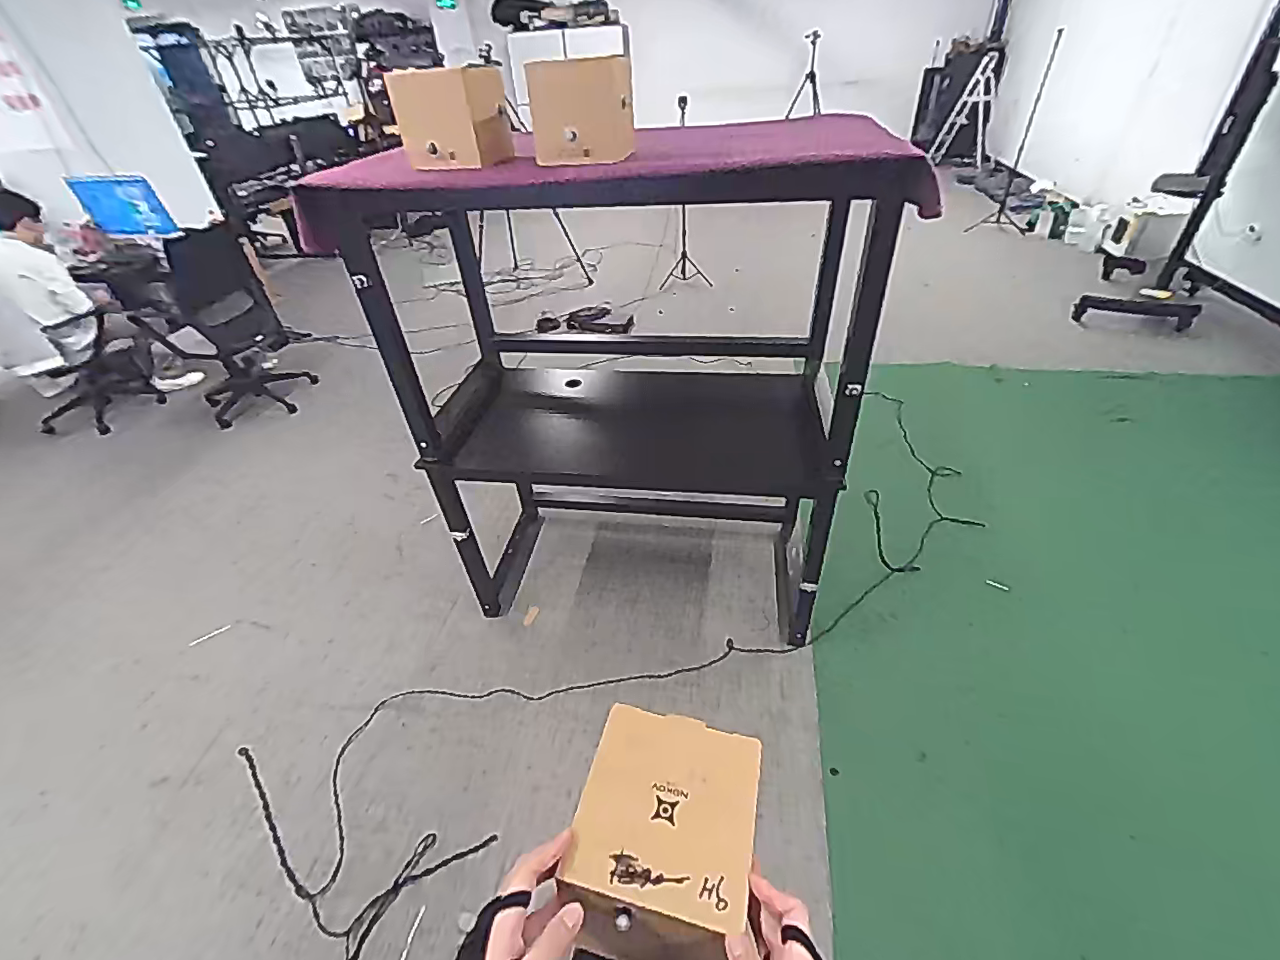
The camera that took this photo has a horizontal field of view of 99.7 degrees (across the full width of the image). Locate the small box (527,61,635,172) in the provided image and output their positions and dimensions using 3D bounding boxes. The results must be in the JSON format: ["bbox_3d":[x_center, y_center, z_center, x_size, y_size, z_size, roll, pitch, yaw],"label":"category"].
[{"bbox_3d":[-0.107,-0.723,1.076,0.168,0.176,0.179,4,39,11],"label":"small box"}]

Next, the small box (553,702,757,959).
[{"bbox_3d":[0.022,0.374,0.566,0.168,0.176,0.179,9,36,13],"label":"small box"}]

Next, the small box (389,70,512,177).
[{"bbox_3d":[-0.380,-0.741,1.125,0.168,0.176,0.179,5,39,12],"label":"small box"}]
